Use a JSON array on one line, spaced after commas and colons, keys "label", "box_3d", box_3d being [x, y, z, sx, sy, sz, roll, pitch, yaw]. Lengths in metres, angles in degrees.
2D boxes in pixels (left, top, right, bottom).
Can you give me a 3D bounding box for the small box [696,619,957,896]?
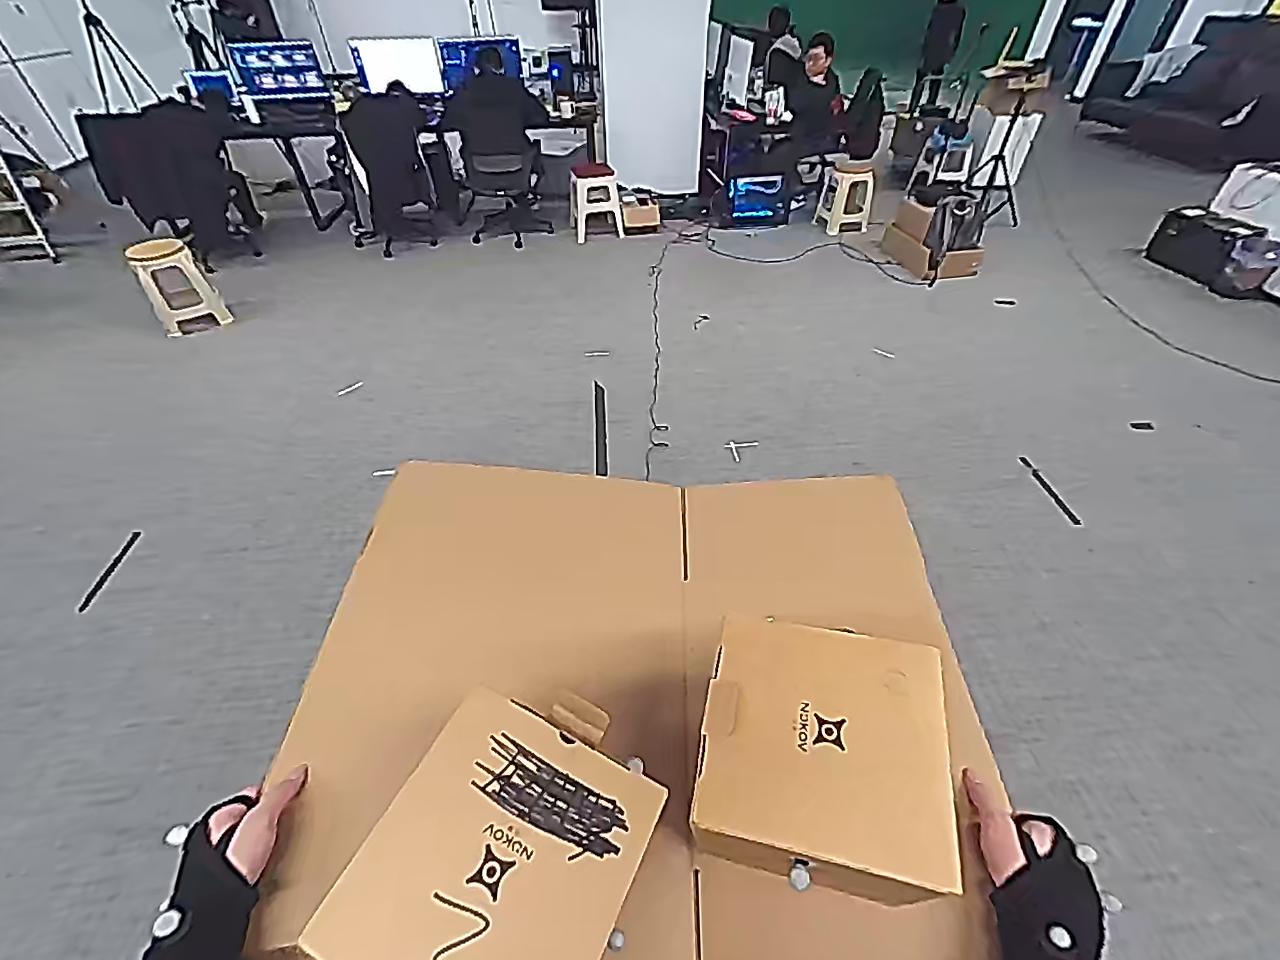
[{"label": "small box", "box_3d": [0.154, 0.247, 0.481, 0.179, 0.176, 0.168, 5, 52, 16]}]
